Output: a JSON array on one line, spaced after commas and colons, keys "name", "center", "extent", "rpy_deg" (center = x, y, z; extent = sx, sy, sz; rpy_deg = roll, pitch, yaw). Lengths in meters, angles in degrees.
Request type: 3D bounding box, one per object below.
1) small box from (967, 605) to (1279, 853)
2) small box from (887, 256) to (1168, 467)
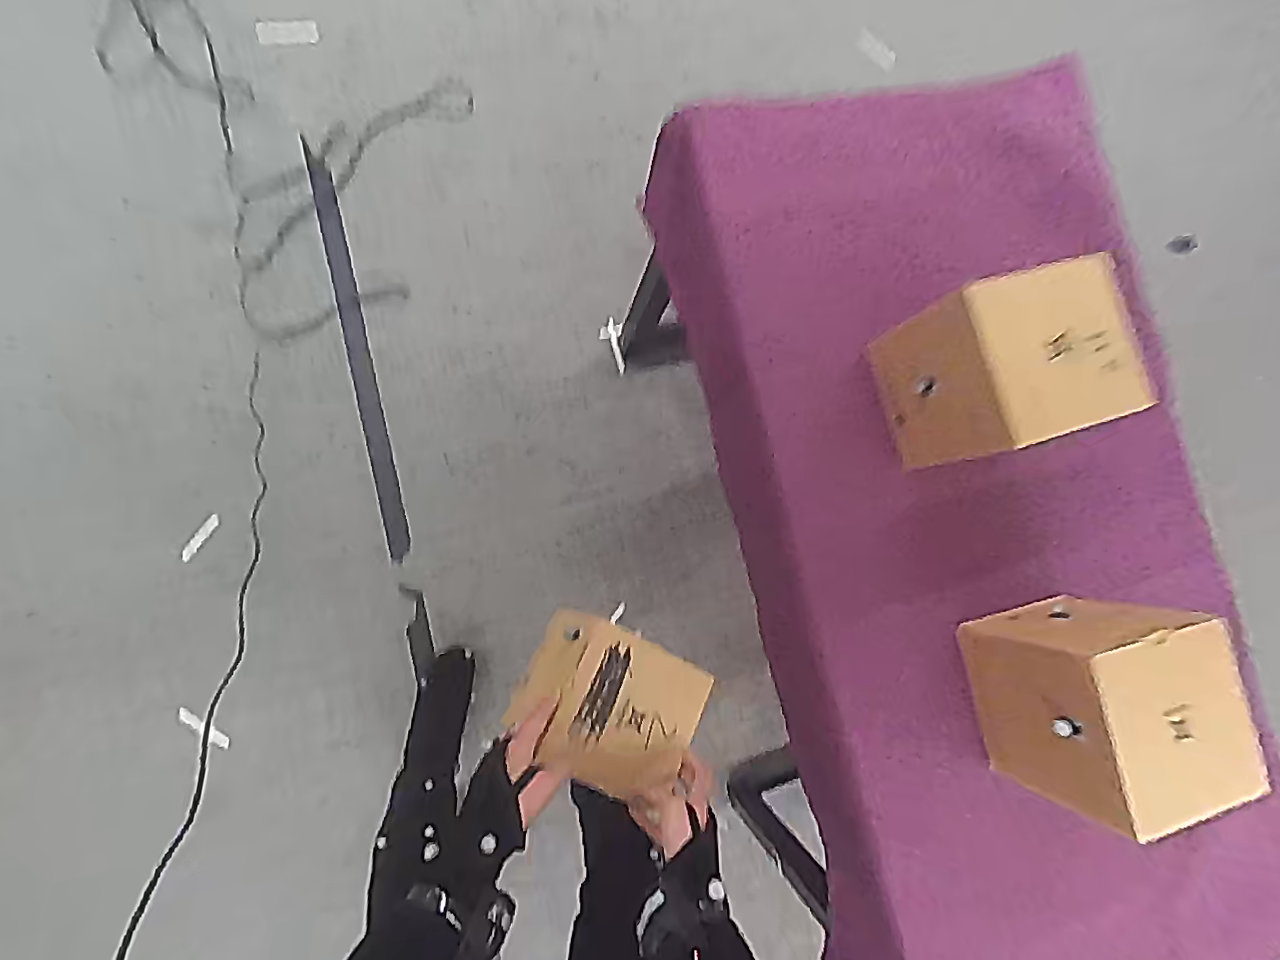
[{"name": "small box", "center": [0.497, 0.245, 0.581], "extent": [0.168, 0.176, 0.179], "rpy_deg": [-10, 86, -11]}, {"name": "small box", "center": [0.404, -0.118, 0.598], "extent": [0.179, 0.176, 0.168], "rpy_deg": [-15, 88, -12]}]
